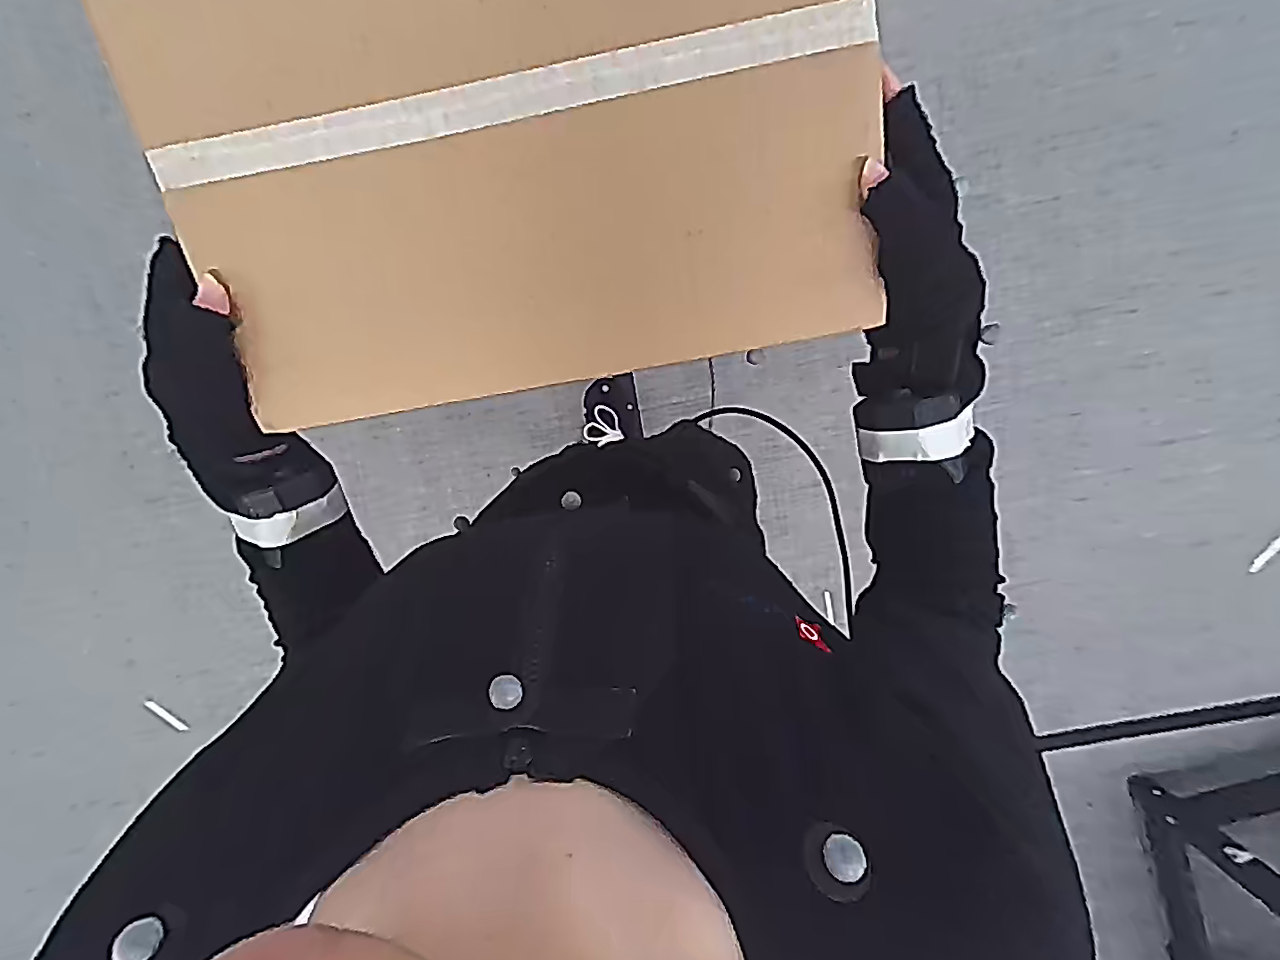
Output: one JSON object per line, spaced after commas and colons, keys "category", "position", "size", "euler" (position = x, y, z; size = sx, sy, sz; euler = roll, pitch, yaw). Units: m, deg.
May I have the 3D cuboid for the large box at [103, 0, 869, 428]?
{"category": "large box", "position": [-0.075, -0.260, 0.446], "size": [0.408, 0.320, 0.320], "euler": [-10, 108, 4]}
